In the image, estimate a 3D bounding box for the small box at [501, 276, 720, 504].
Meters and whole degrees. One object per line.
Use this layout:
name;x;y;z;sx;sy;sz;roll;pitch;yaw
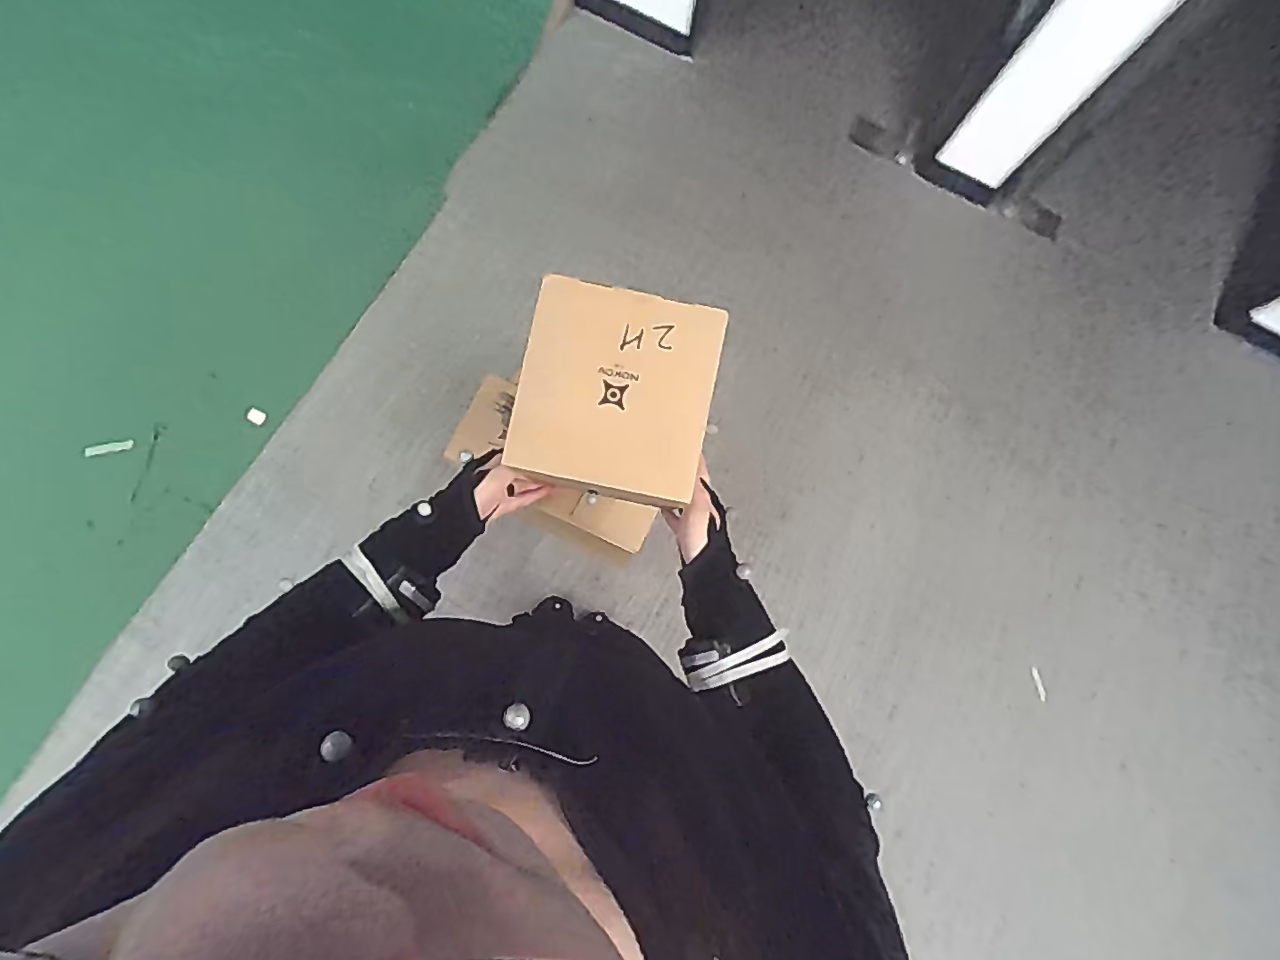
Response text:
small box;-0.027;-0.075;0.557;0.168;0.176;0.179;13;85;-2
